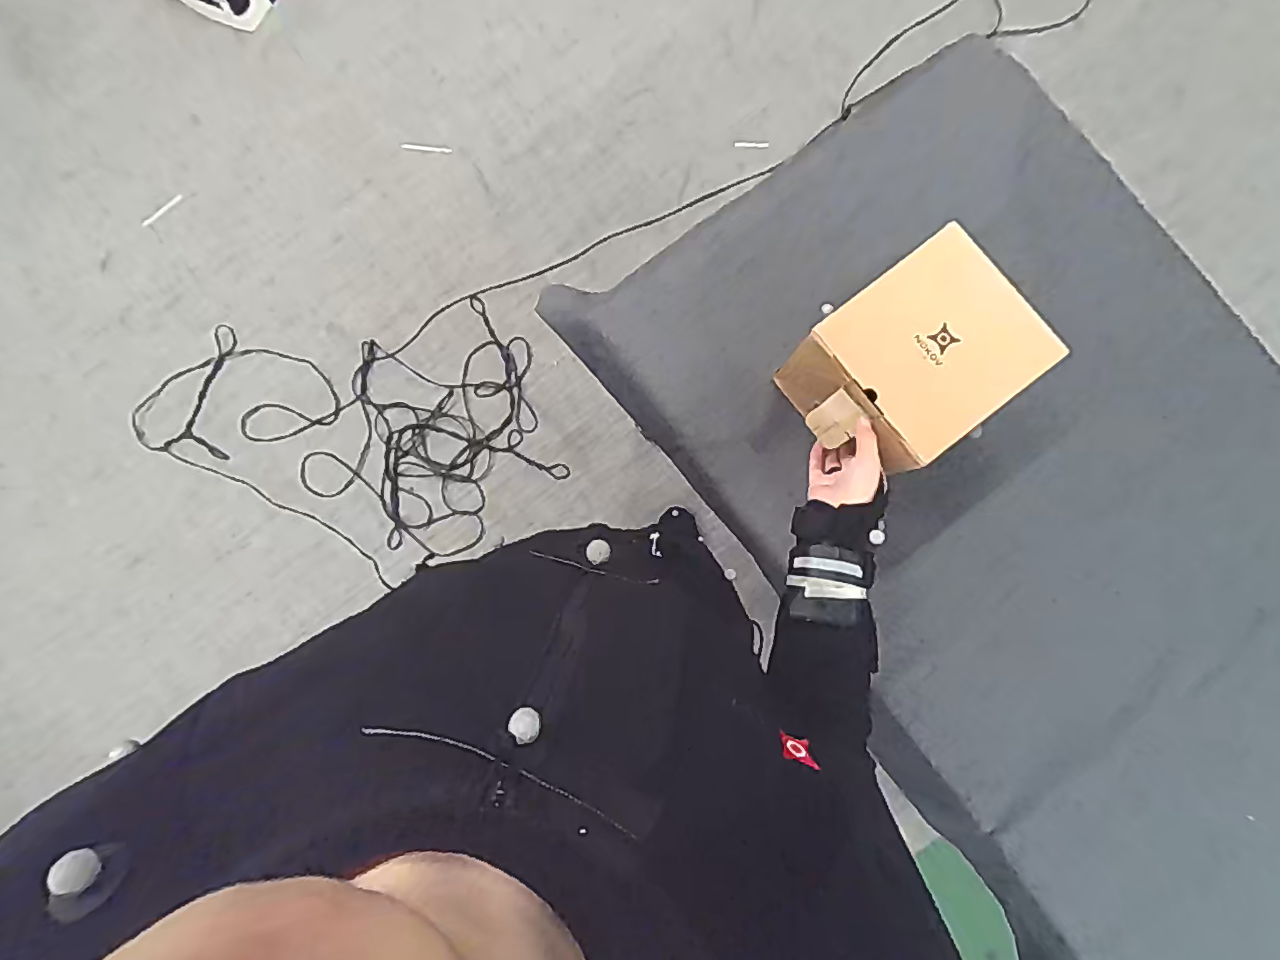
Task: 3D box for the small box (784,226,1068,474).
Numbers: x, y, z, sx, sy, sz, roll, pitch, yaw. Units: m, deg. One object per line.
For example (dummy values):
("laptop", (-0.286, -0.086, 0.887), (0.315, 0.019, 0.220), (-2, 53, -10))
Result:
("small box", (0.284, -0.123, 0.584), (0.179, 0.176, 0.168), (-38, 86, -1))
